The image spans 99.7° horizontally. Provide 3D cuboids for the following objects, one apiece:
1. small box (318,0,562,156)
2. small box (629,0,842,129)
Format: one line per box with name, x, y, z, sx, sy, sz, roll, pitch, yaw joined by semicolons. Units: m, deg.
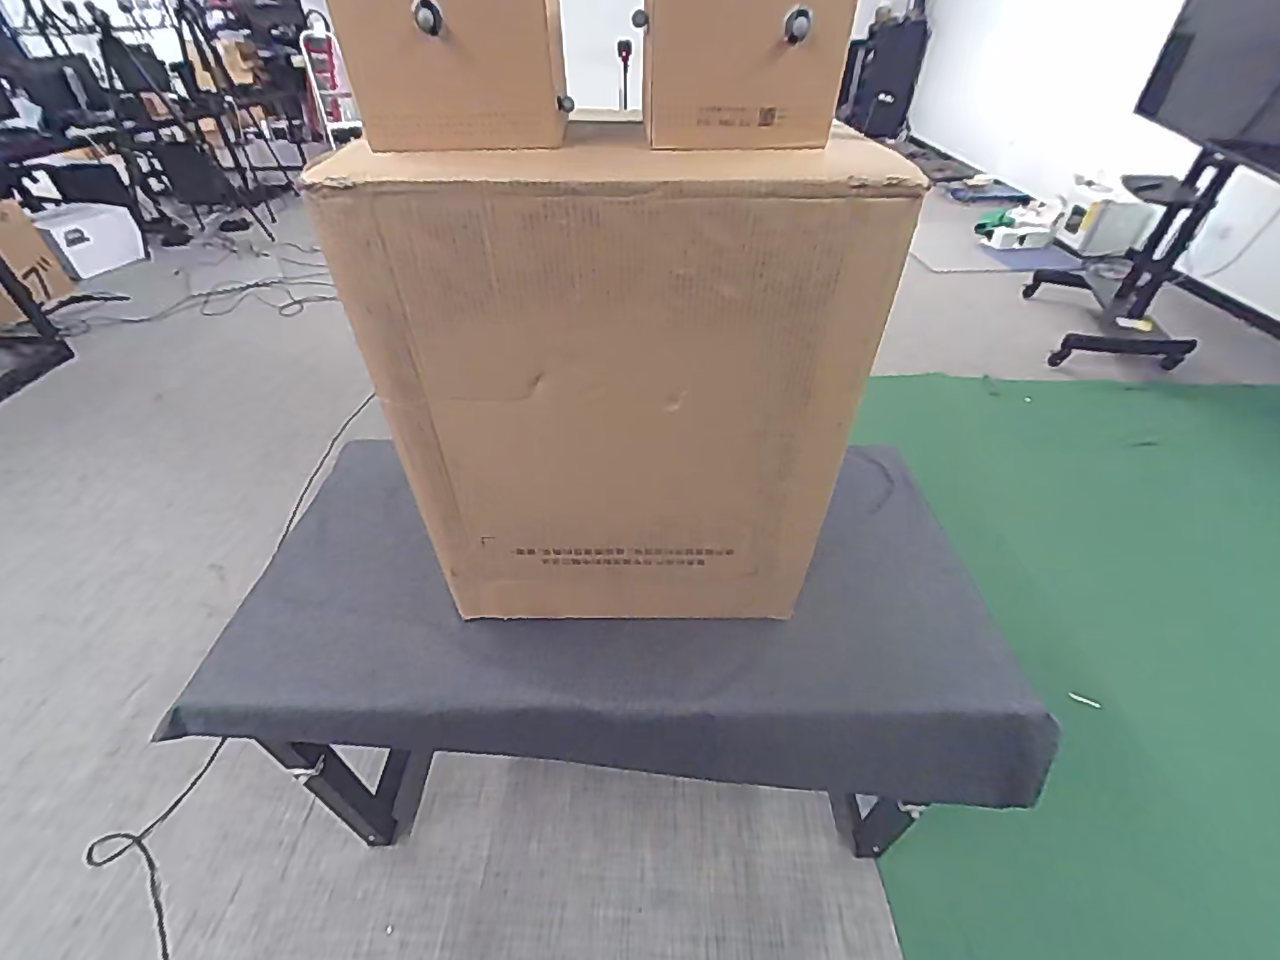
small box;-0.170;-0.418;0.503;0.179;0.176;0.168;-3;44;-1
small box;0.079;-0.435;0.495;0.168;0.176;0.179;-5;45;-5
